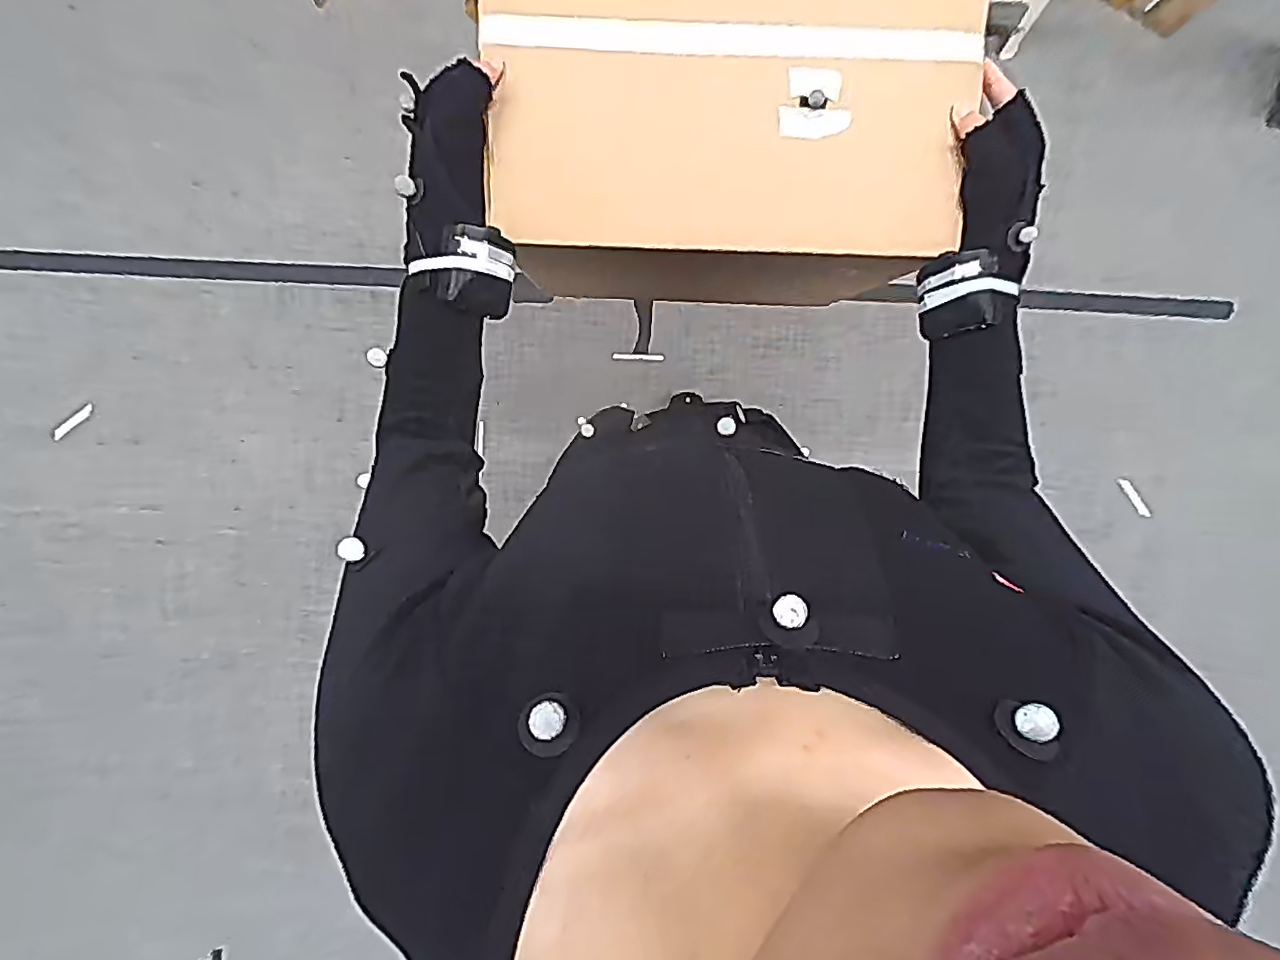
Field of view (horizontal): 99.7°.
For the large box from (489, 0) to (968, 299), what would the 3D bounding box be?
[{"bbox_3d":[0.068,-0.384,0.599,0.408,0.320,0.320,1,101,-2],"label":"large box"}]
